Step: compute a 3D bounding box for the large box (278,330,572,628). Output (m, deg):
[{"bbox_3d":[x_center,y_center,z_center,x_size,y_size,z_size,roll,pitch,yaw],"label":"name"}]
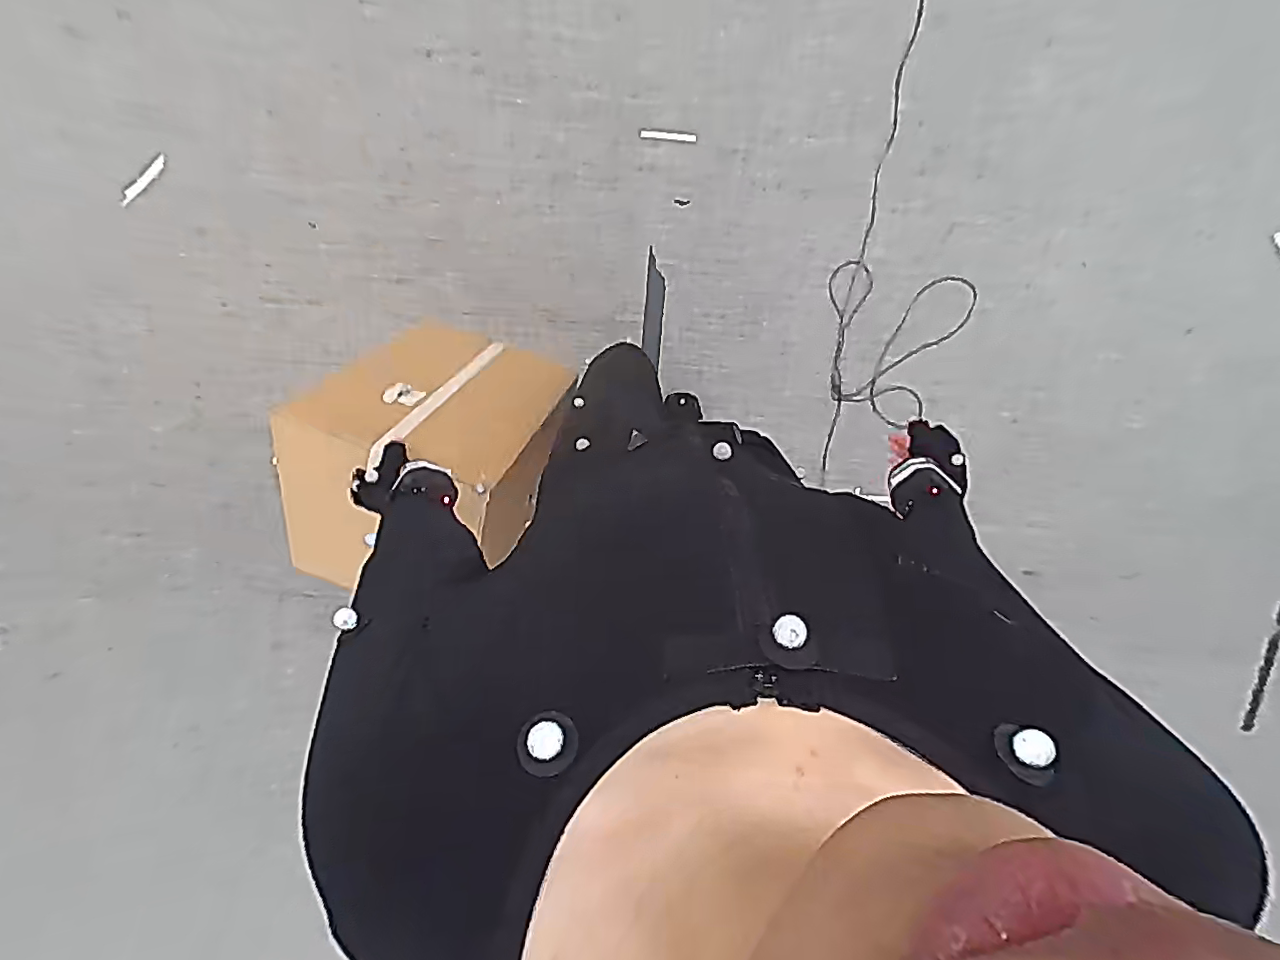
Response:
[{"bbox_3d":[-0.352,-0.019,0.979,0.320,0.408,0.320,19,126,2],"label":"large box"}]
